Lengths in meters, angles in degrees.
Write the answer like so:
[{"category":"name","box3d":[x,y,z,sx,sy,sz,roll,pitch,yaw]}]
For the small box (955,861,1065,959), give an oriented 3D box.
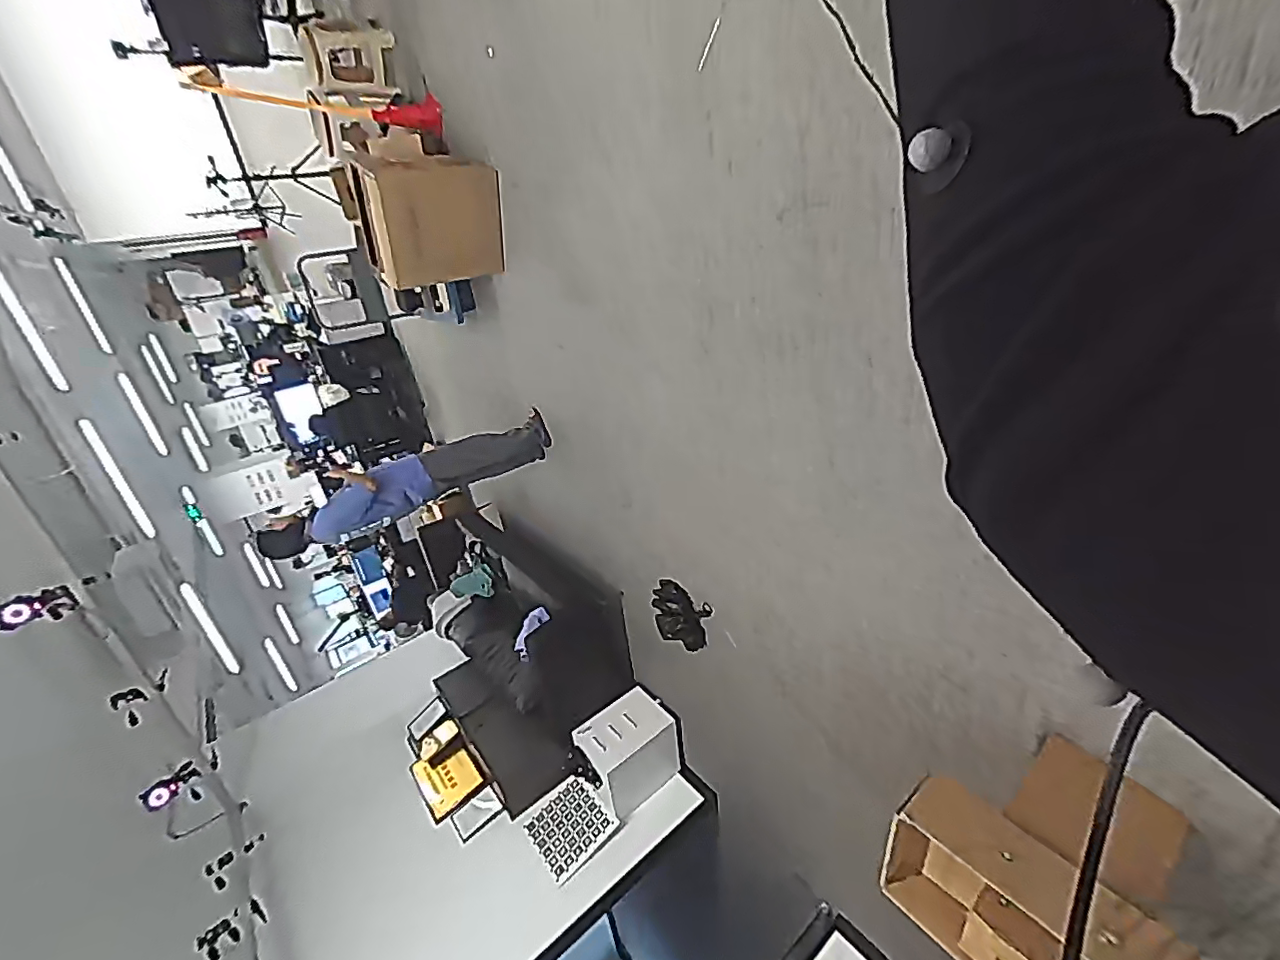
[{"category":"small box","box3d":[0.905,1.093,1.323,0.168,0.176,0.179,25,133,48]}]
